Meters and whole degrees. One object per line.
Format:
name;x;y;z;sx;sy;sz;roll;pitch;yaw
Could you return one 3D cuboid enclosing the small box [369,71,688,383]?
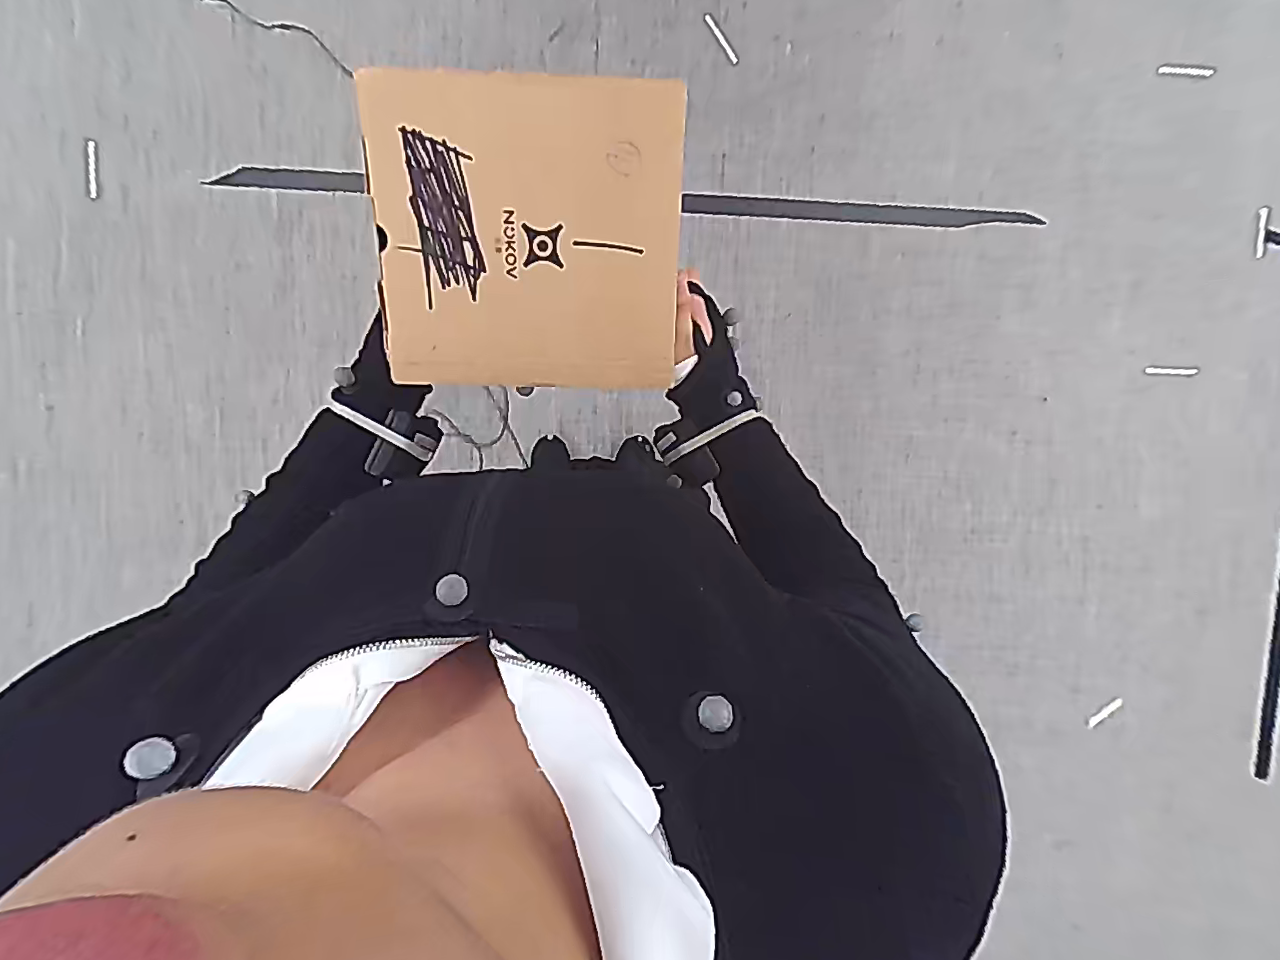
small box;-0.064;-0.167;0.394;0.179;0.176;0.168;1;110;-2
